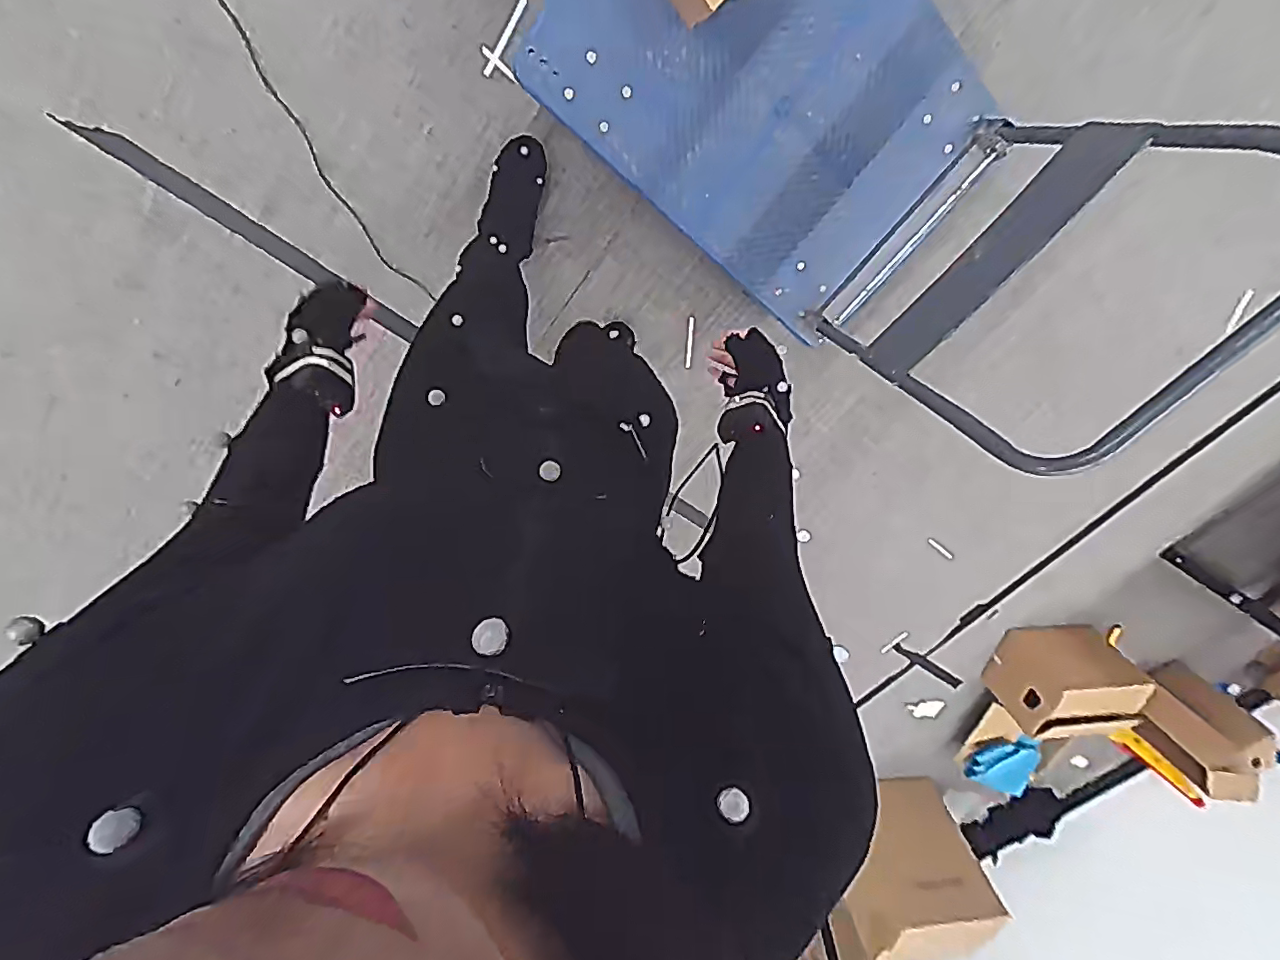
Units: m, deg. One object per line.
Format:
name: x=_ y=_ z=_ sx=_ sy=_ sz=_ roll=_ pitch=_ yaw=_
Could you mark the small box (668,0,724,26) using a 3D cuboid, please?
small box: x=0.100 y=-0.854 z=0.832 sx=0.168 sy=0.176 sz=0.179 roll=-39 pitch=121 yaw=15
